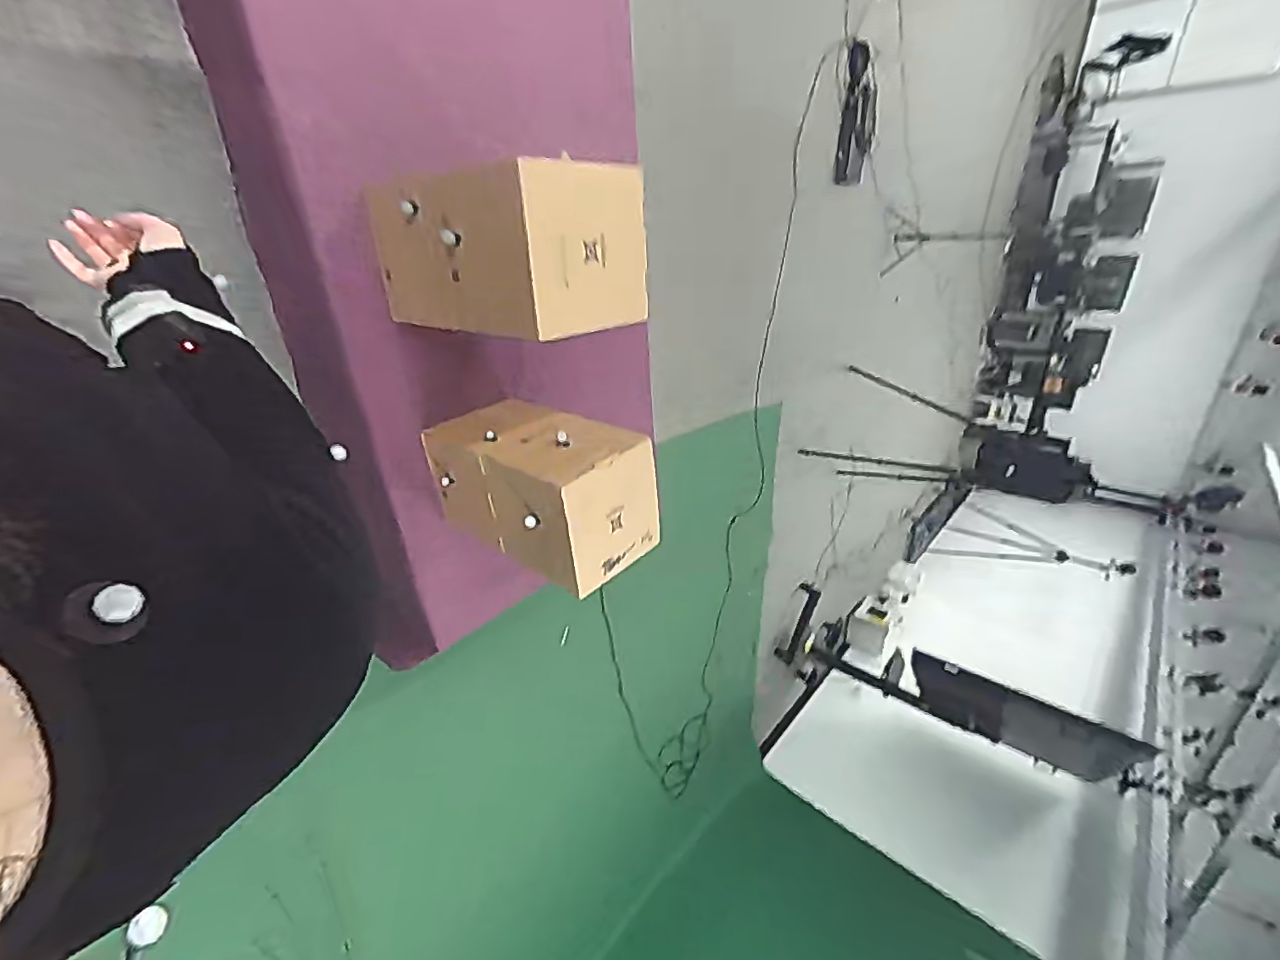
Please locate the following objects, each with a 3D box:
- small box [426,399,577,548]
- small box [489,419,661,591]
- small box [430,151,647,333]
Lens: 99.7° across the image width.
[{"bbox_3d":[-0.211,-0.022,0.875,0.179,0.176,0.168,-30,126,-38],"label":"small box"},{"bbox_3d":[-0.092,0.022,0.770,0.168,0.176,0.179,-31,126,-38],"label":"small box"},{"bbox_3d":[-0.111,-0.271,0.627,0.179,0.176,0.168,-26,123,-42],"label":"small box"}]
